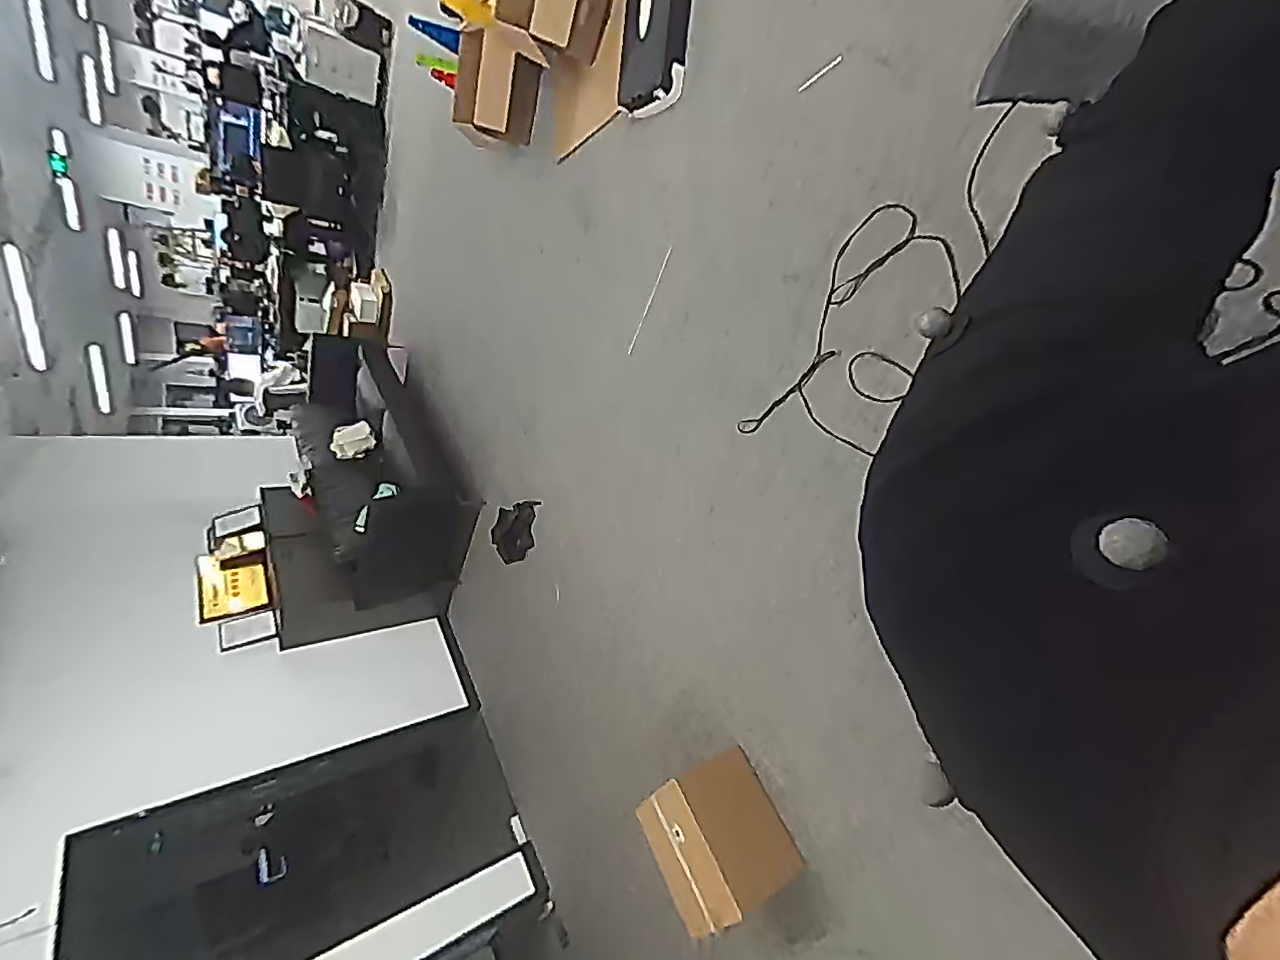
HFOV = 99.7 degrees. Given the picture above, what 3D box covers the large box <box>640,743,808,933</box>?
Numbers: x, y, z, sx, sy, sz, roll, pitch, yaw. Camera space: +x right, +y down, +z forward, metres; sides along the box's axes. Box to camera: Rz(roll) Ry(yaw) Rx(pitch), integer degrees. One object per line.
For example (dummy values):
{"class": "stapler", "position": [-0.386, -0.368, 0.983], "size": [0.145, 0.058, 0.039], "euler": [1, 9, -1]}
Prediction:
{"class": "large box", "position": [0.269, 1.177, 1.805], "size": [0.408, 0.320, 0.320], "euler": [58, 133, 32]}
